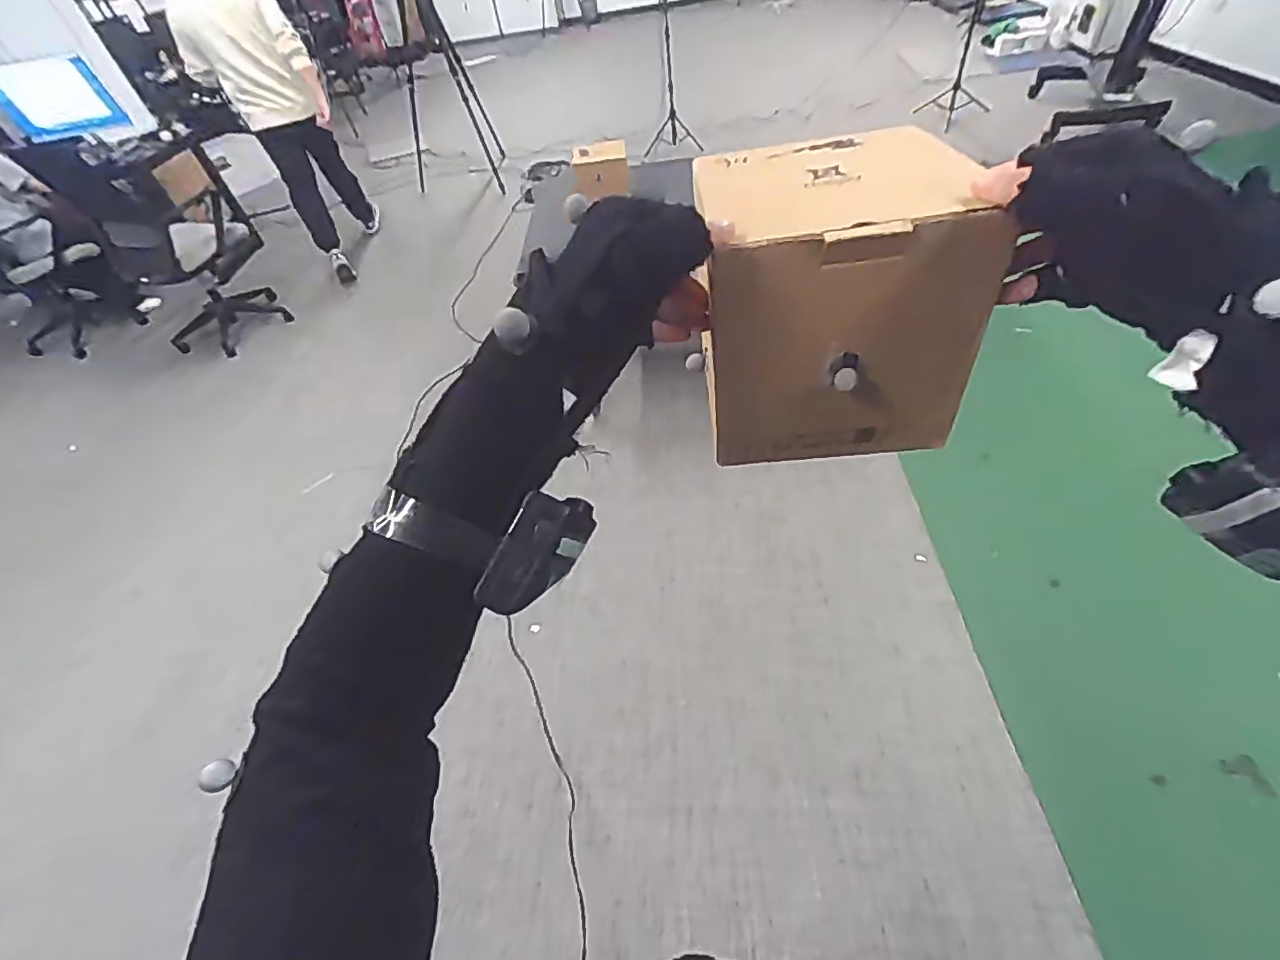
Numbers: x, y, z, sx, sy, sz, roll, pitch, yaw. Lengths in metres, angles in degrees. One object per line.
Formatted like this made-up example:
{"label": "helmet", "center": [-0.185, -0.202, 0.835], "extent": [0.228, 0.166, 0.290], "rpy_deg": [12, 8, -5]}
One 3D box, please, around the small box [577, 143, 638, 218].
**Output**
{"label": "small box", "center": [-0.104, -0.984, 1.786], "extent": [0.179, 0.176, 0.168], "rpy_deg": [-5, 48, 3]}

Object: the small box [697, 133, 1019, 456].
{"label": "small box", "center": [0.134, -0.131, 0.406], "extent": [0.168, 0.176, 0.179], "rpy_deg": [-5, 45, 6]}
